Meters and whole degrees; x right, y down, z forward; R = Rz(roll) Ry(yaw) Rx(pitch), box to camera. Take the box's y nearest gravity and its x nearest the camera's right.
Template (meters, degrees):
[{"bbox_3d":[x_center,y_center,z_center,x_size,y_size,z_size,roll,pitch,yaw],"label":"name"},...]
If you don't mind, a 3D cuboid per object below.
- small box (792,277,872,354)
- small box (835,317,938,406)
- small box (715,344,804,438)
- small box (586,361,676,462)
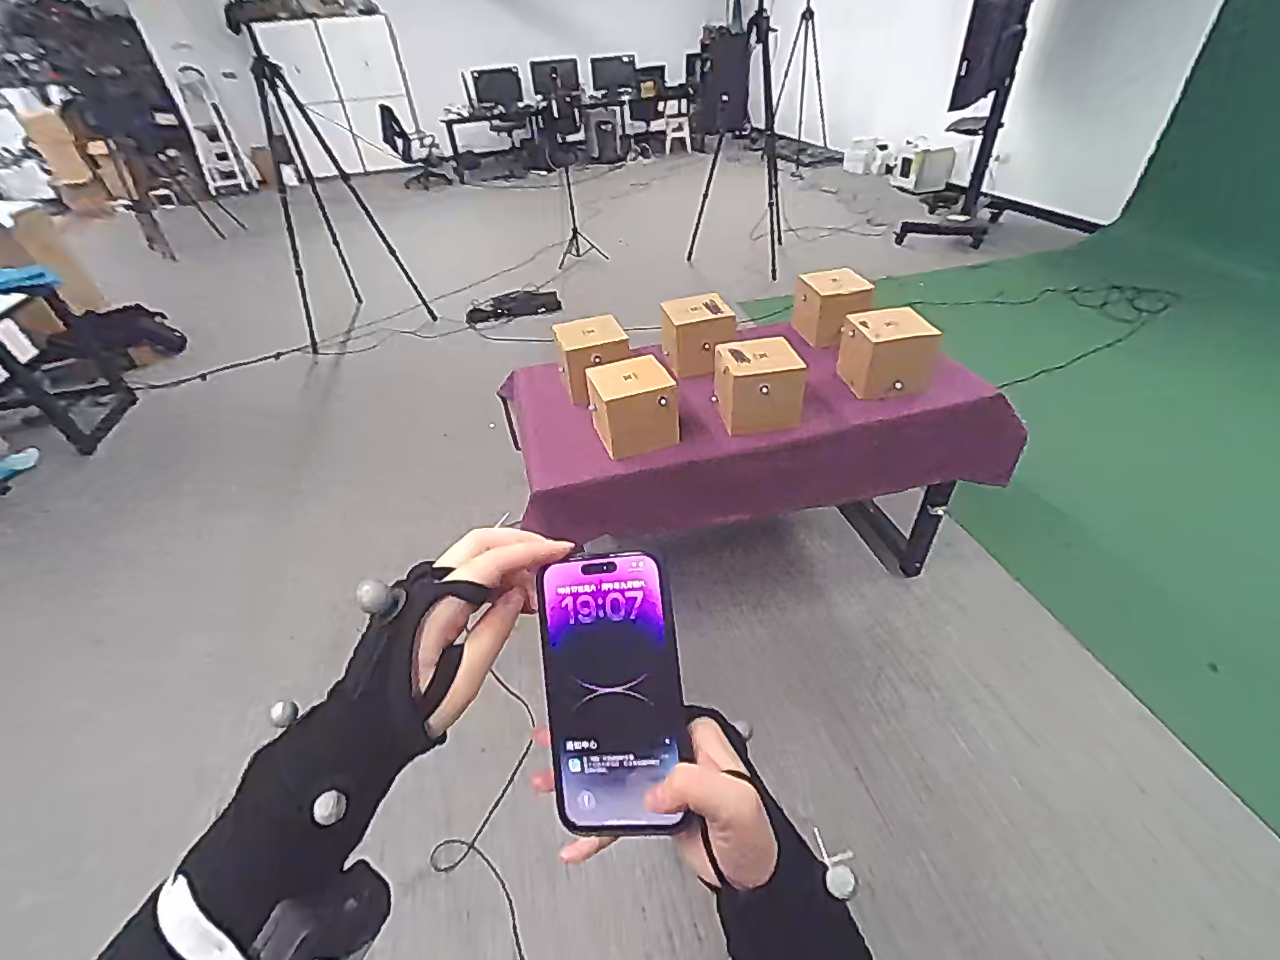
[{"bbox_3d":[0.580,-0.506,1.662,0.168,0.176,0.179,-10,41,-5],"label":"small box"},{"bbox_3d":[0.638,-0.311,1.423,0.179,0.176,0.168,-7,39,-3],"label":"small box"},{"bbox_3d":[0.288,-0.218,1.343,0.179,0.176,0.168,-7,40,-4],"label":"small box"},{"bbox_3d":[-0.019,-0.164,1.309,0.179,0.176,0.168,-14,40,-14],"label":"small box"}]
